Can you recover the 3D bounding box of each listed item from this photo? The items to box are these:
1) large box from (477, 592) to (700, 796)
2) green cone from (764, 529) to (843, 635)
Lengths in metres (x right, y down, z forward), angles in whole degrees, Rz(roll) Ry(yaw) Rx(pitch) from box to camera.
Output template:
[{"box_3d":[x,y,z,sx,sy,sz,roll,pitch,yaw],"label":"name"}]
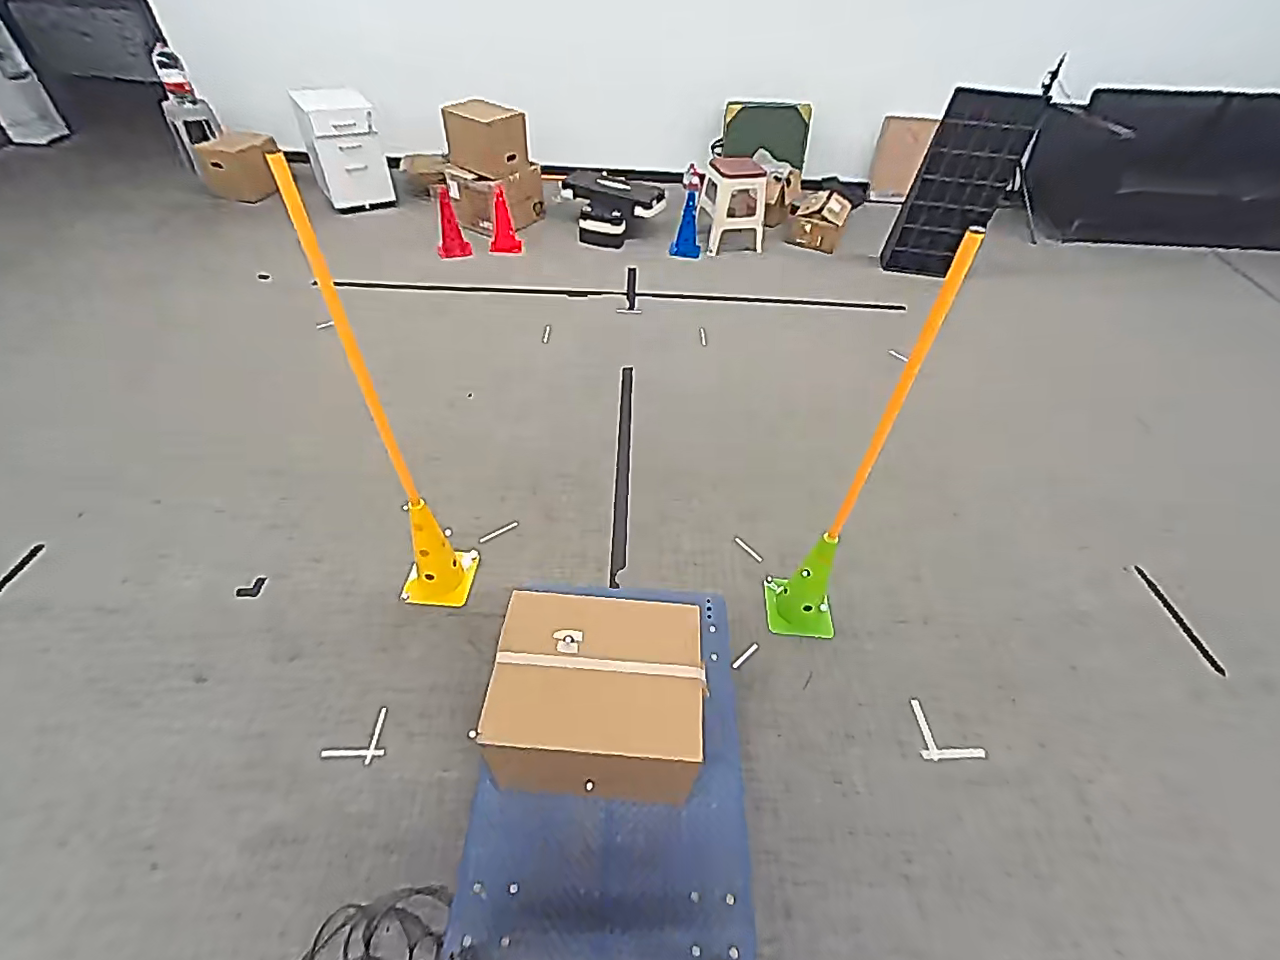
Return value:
[{"box_3d":[-0.087,0.465,1.164,0.408,0.320,0.320,5,46,1],"label":"large box"},{"box_3d":[0.513,0.275,1.594,0.202,0.368,0.200,6,46,0],"label":"green cone"}]
